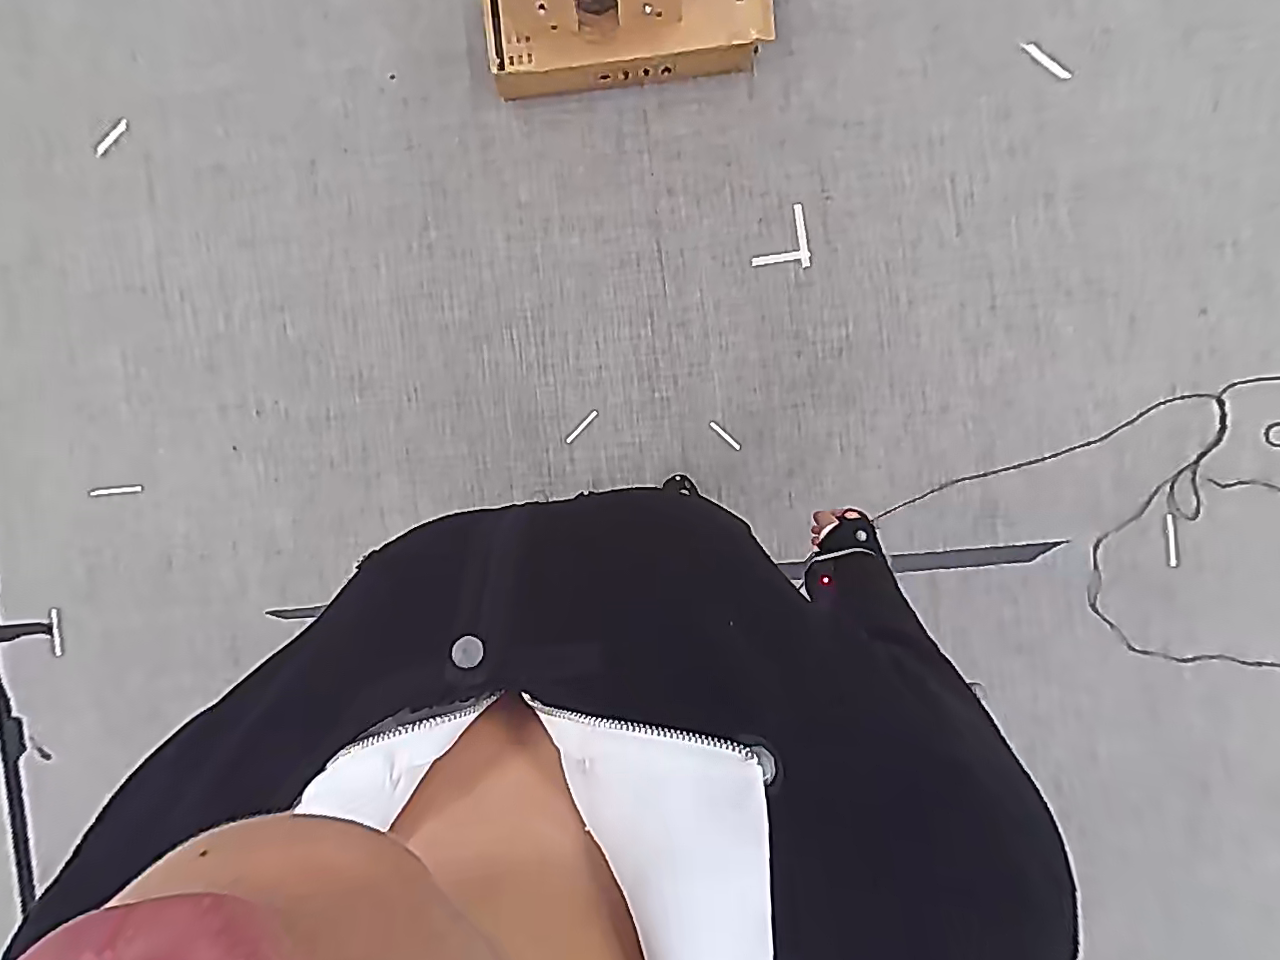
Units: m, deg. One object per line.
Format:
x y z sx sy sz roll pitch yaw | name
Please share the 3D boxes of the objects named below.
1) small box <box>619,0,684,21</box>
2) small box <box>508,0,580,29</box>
0.024 -1.265 1.302 0.168 0.176 0.179 -2 91 3 | small box
-0.243 -1.240 1.310 0.168 0.176 0.179 -4 91 2 | small box
